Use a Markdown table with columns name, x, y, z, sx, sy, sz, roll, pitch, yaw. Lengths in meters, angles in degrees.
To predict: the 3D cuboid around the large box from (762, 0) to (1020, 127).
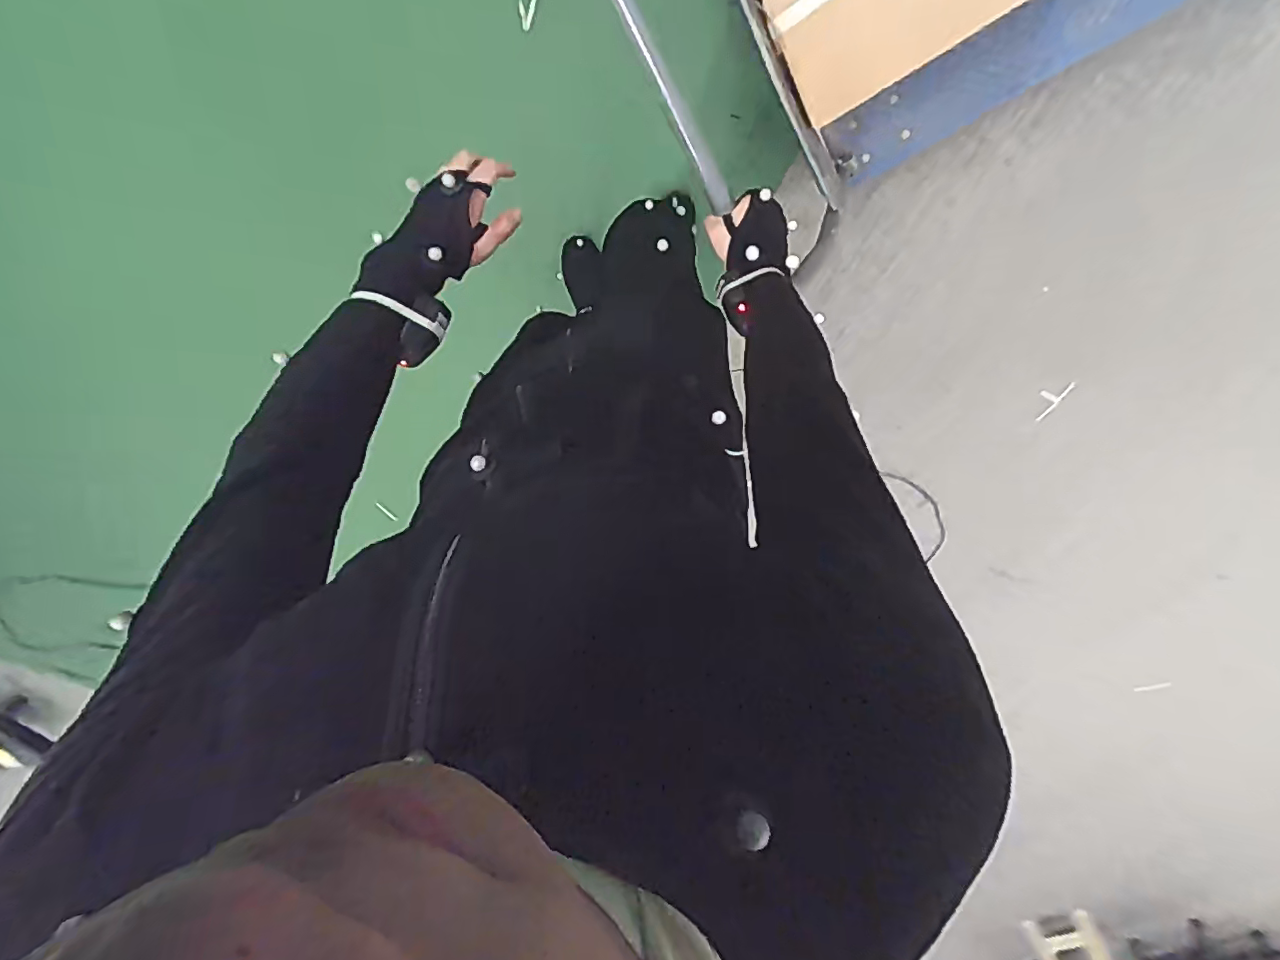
| name | x | y | z | sx | sy | sz | roll | pitch | yaw |
| --- | --- | --- | --- | --- | --- | --- | --- | --- | --- |
| large box | 0.404 | -0.833 | 0.836 | 0.408 | 0.320 | 0.320 | -19 | 119 | 31 |
